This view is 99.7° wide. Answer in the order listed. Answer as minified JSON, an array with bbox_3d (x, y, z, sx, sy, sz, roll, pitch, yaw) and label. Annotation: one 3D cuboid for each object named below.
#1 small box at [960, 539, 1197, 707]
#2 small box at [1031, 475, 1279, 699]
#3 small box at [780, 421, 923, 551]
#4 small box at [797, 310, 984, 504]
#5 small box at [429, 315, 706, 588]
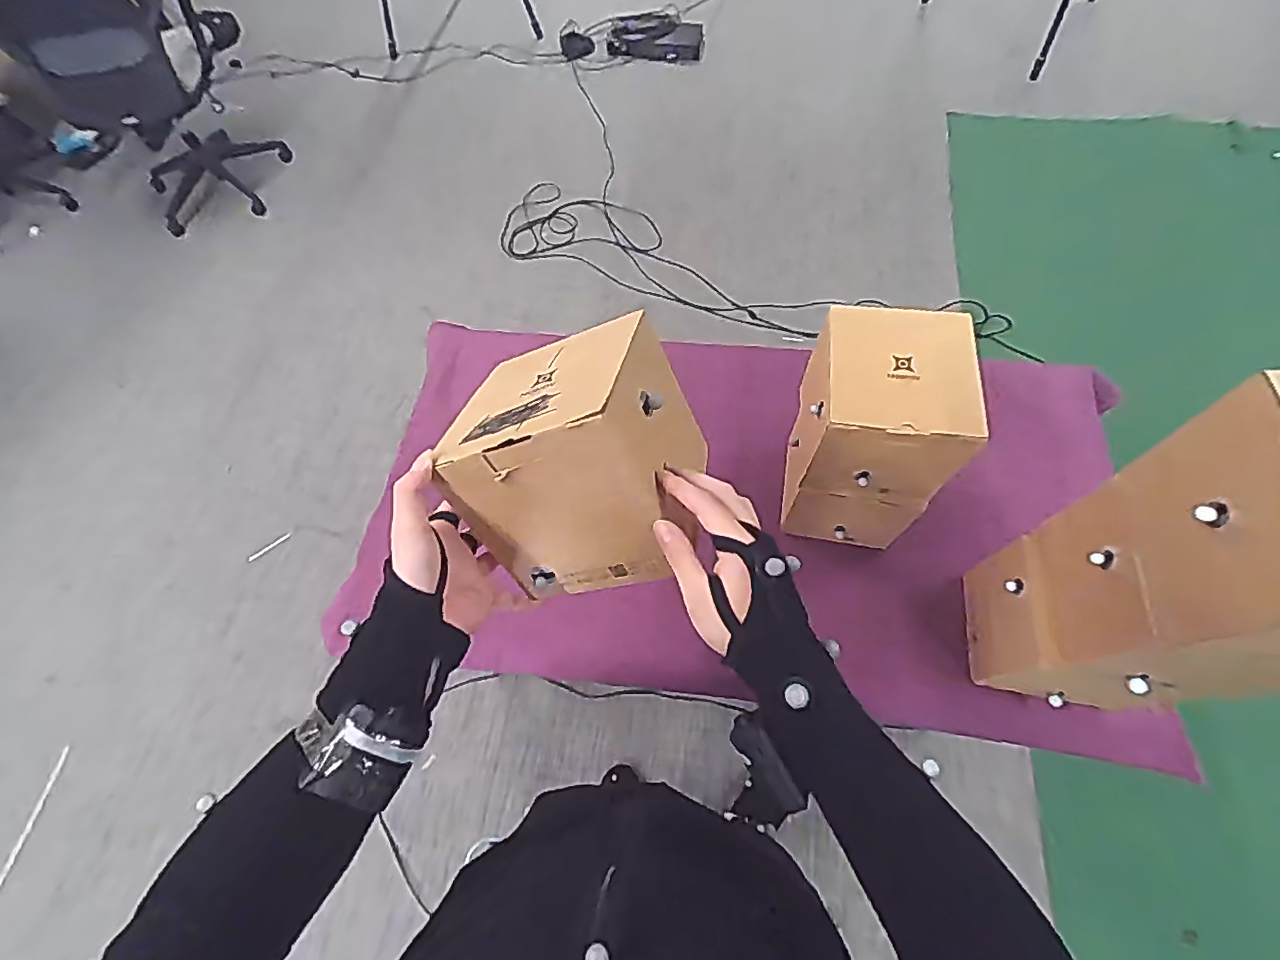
[{"bbox_3d":[0.556,0.196,0.714,0.179,0.176,0.168,8,63,9],"label":"small box"},{"bbox_3d":[0.548,0.118,0.570,0.168,0.176,0.179,8,64,10],"label":"small box"},{"bbox_3d":[0.316,-0.010,0.832,0.168,0.176,0.179,9,65,9],"label":"small box"},{"bbox_3d":[0.301,-0.087,0.690,0.168,0.176,0.179,6,65,6],"label":"small box"},{"bbox_3d":[-0.047,-0.017,0.498,0.168,0.176,0.179,-14,34,23],"label":"small box"}]
